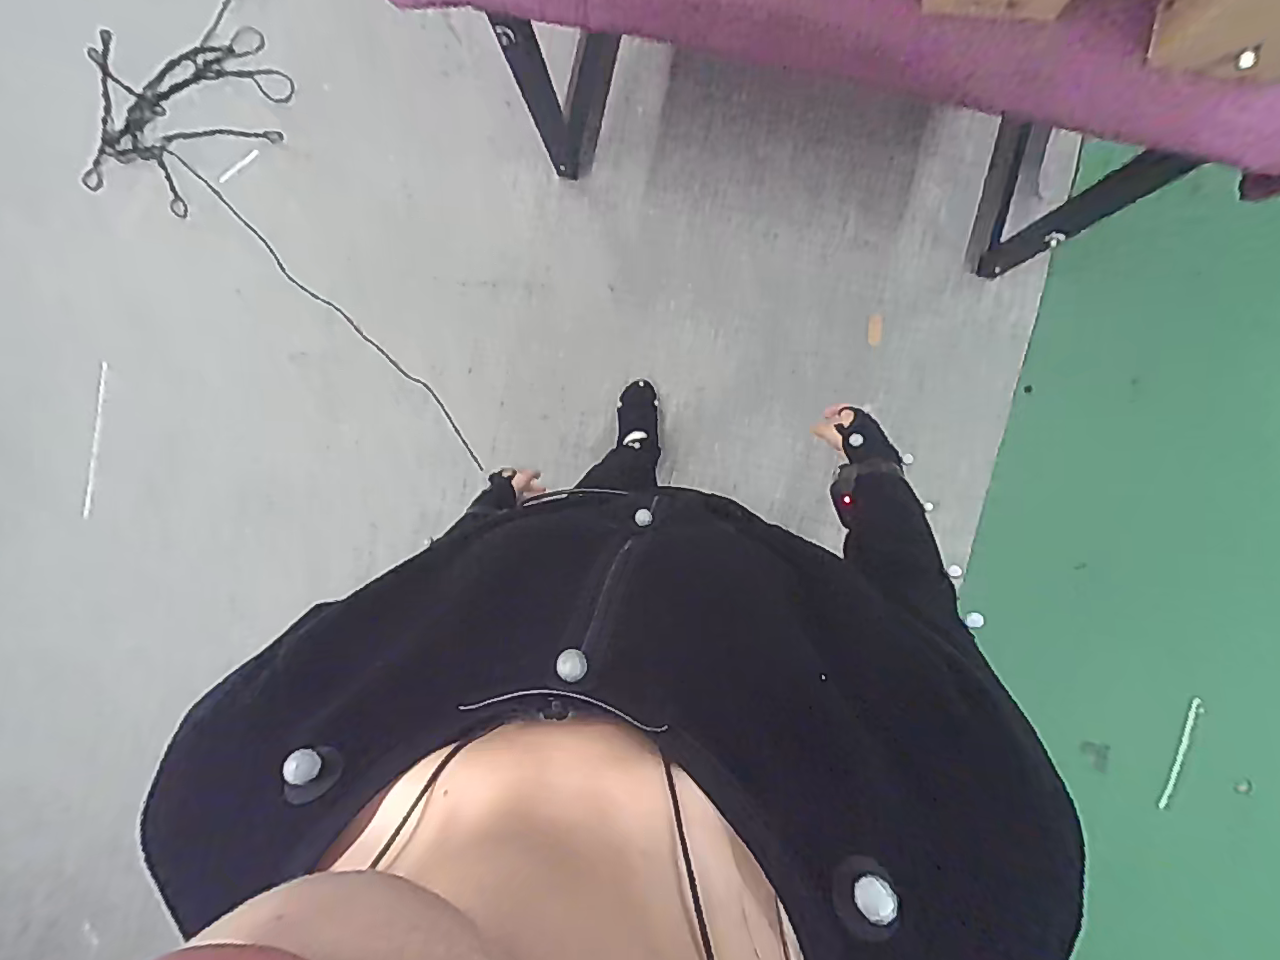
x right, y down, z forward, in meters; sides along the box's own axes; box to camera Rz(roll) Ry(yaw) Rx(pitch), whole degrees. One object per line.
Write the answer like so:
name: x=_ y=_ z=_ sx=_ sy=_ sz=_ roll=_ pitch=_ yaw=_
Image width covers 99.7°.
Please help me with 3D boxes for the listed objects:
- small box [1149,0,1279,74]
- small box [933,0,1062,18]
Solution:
small box: x=0.732 y=-0.588 z=0.590 sx=0.179 sy=0.176 sz=0.168 roll=11 pitch=94 yaw=4
small box: x=0.450 y=-0.682 z=0.608 sx=0.168 sy=0.176 sz=0.179 roll=8 pitch=93 yaw=5
